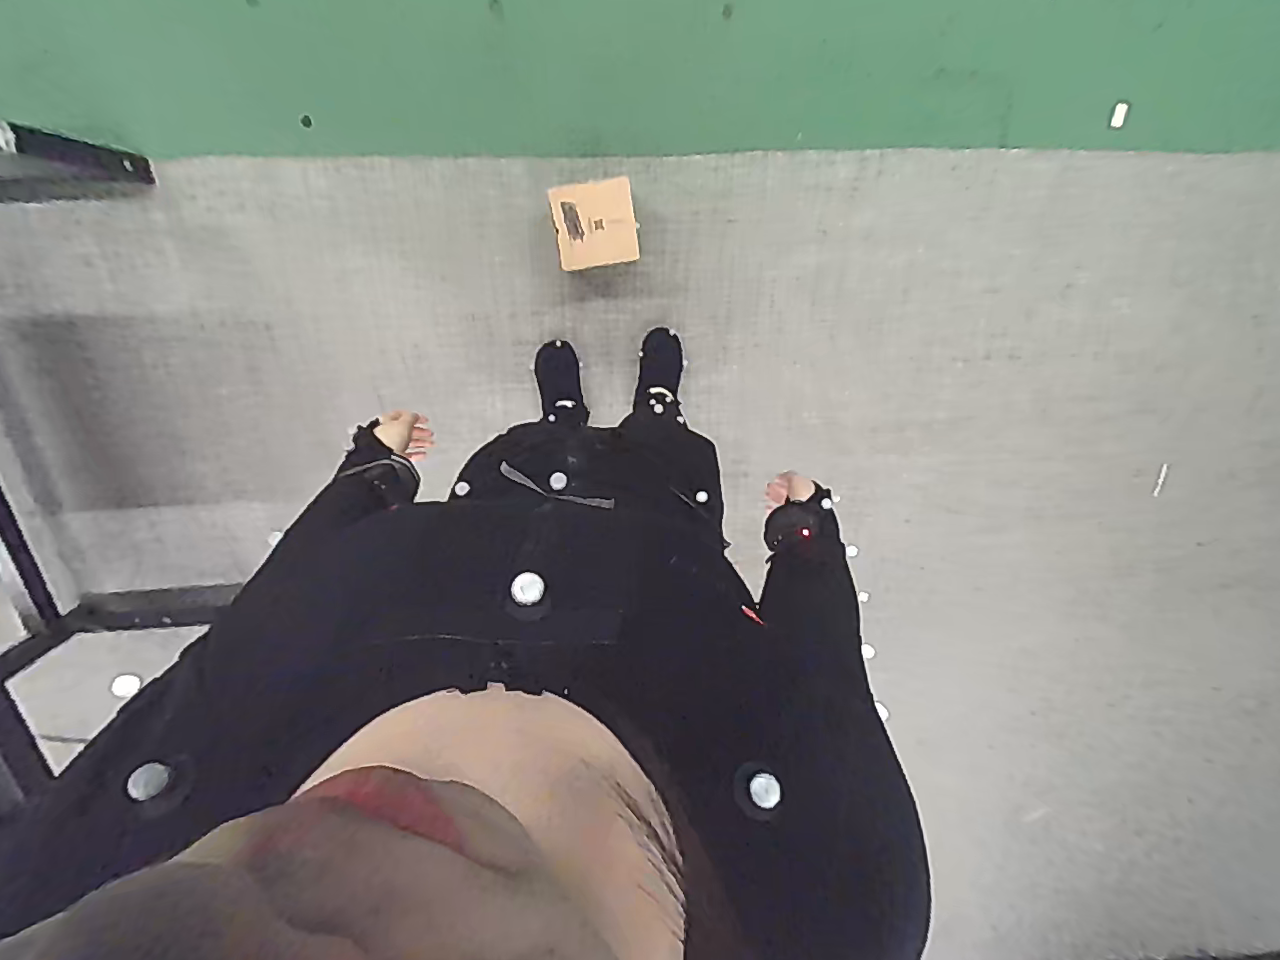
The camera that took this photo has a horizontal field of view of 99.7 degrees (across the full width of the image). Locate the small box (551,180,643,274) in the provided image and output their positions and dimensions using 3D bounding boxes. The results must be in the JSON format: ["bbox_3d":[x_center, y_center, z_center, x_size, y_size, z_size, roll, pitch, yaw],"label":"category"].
[{"bbox_3d":[-0.094,-0.563,1.220,0.179,0.176,0.168,-9,111,-1],"label":"small box"}]
